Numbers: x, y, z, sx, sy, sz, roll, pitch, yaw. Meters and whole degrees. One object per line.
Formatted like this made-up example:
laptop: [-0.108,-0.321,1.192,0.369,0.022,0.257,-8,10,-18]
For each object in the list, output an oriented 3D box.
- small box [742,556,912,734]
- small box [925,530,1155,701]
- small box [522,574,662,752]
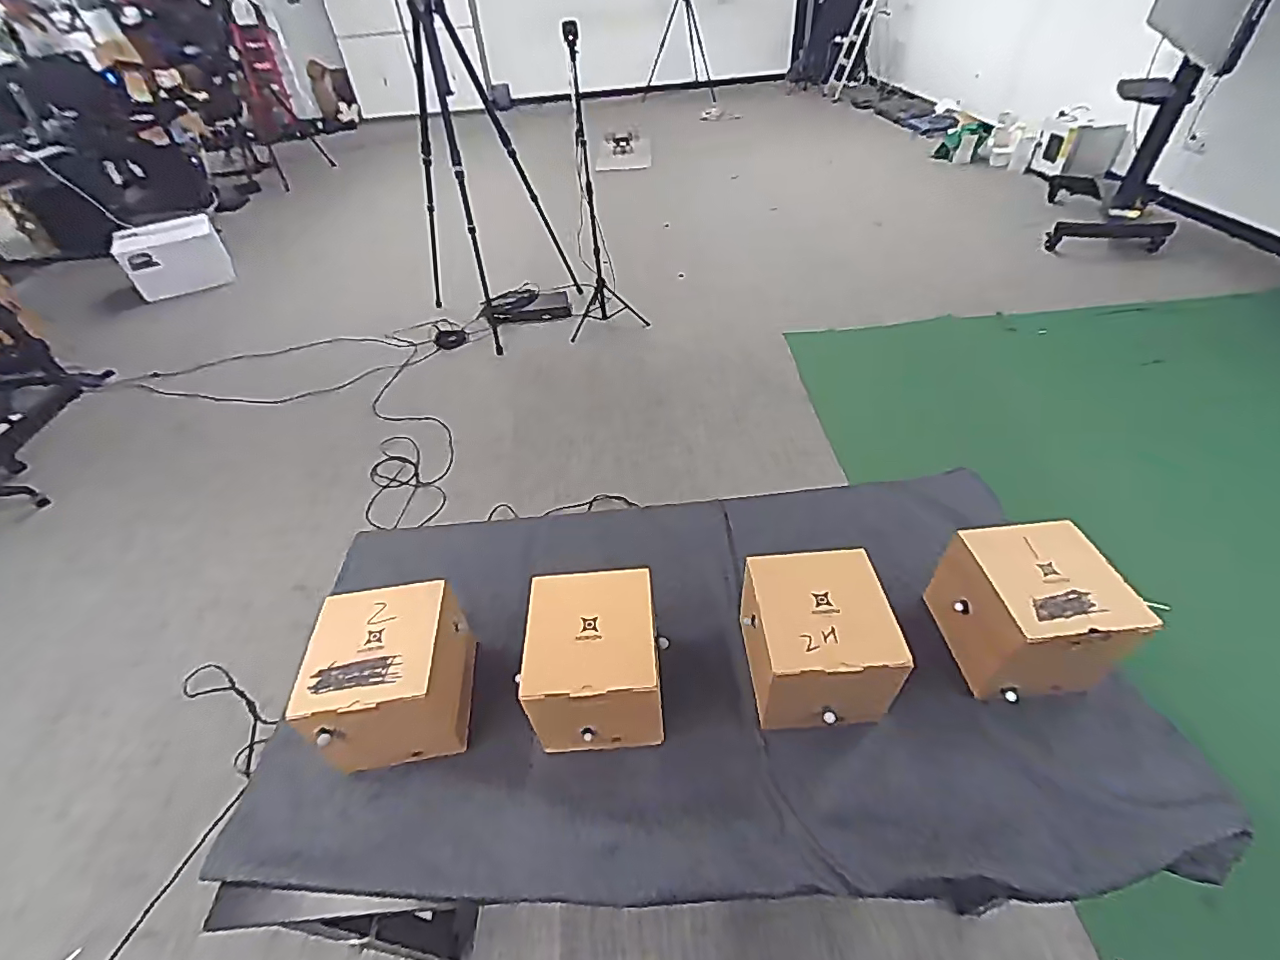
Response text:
small box: [0.239,0.227,0.748,0.168,0.176,0.179,-4,44,1]
small box: [0.537,0.195,0.759,0.168,0.176,0.179,-4,43,0]
small box: [-0.058,0.252,0.747,0.168,0.176,0.179,-4,44,0]
